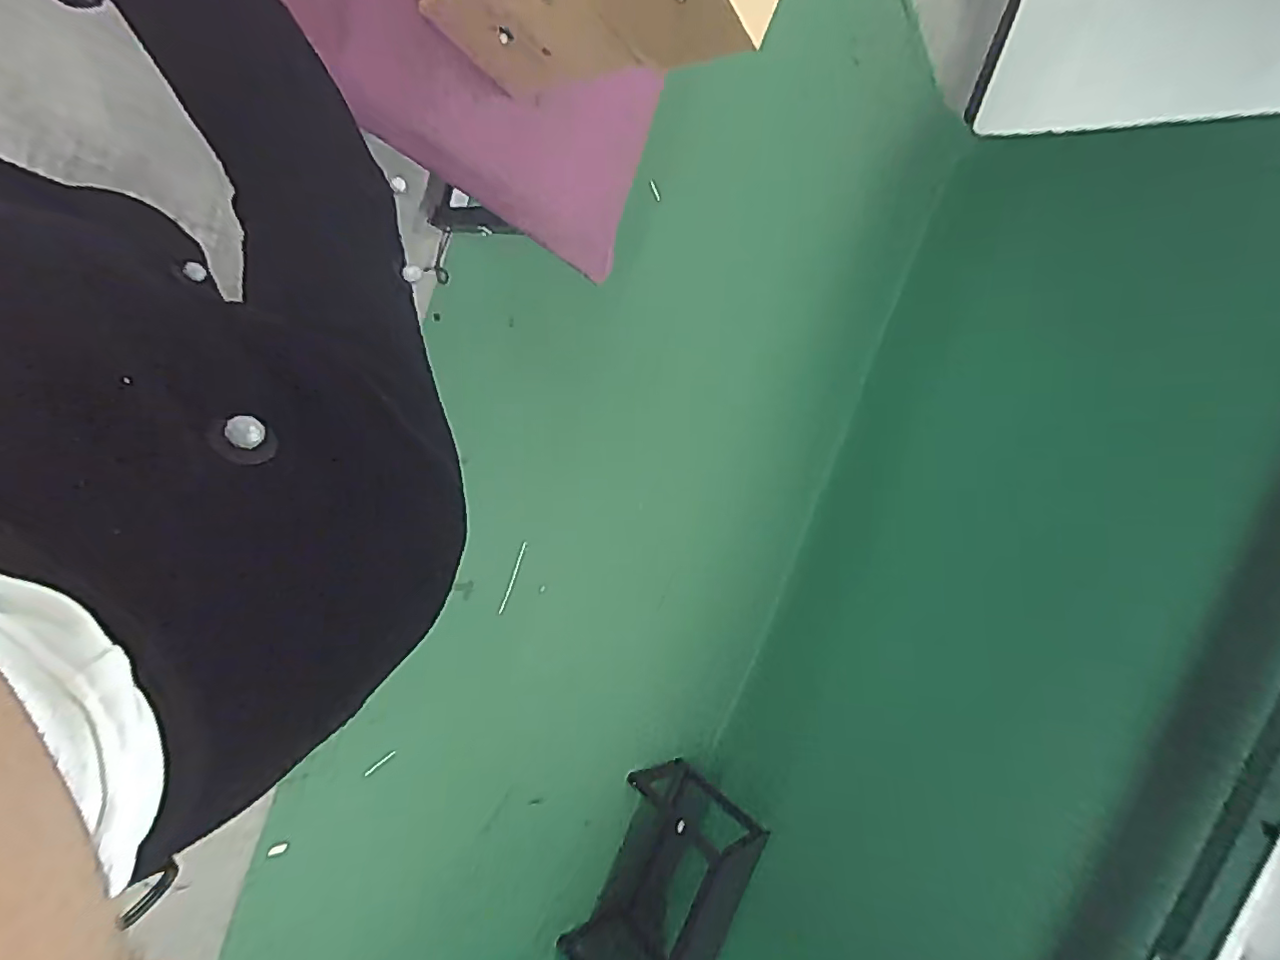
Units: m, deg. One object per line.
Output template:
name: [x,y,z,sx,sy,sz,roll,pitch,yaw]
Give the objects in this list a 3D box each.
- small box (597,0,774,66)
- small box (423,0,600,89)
small box: [0.044,-0.579,0.565,0.179,0.176,0.168,20,95,-50]
small box: [-0.179,-0.702,0.772,0.179,0.176,0.168,16,96,-50]
